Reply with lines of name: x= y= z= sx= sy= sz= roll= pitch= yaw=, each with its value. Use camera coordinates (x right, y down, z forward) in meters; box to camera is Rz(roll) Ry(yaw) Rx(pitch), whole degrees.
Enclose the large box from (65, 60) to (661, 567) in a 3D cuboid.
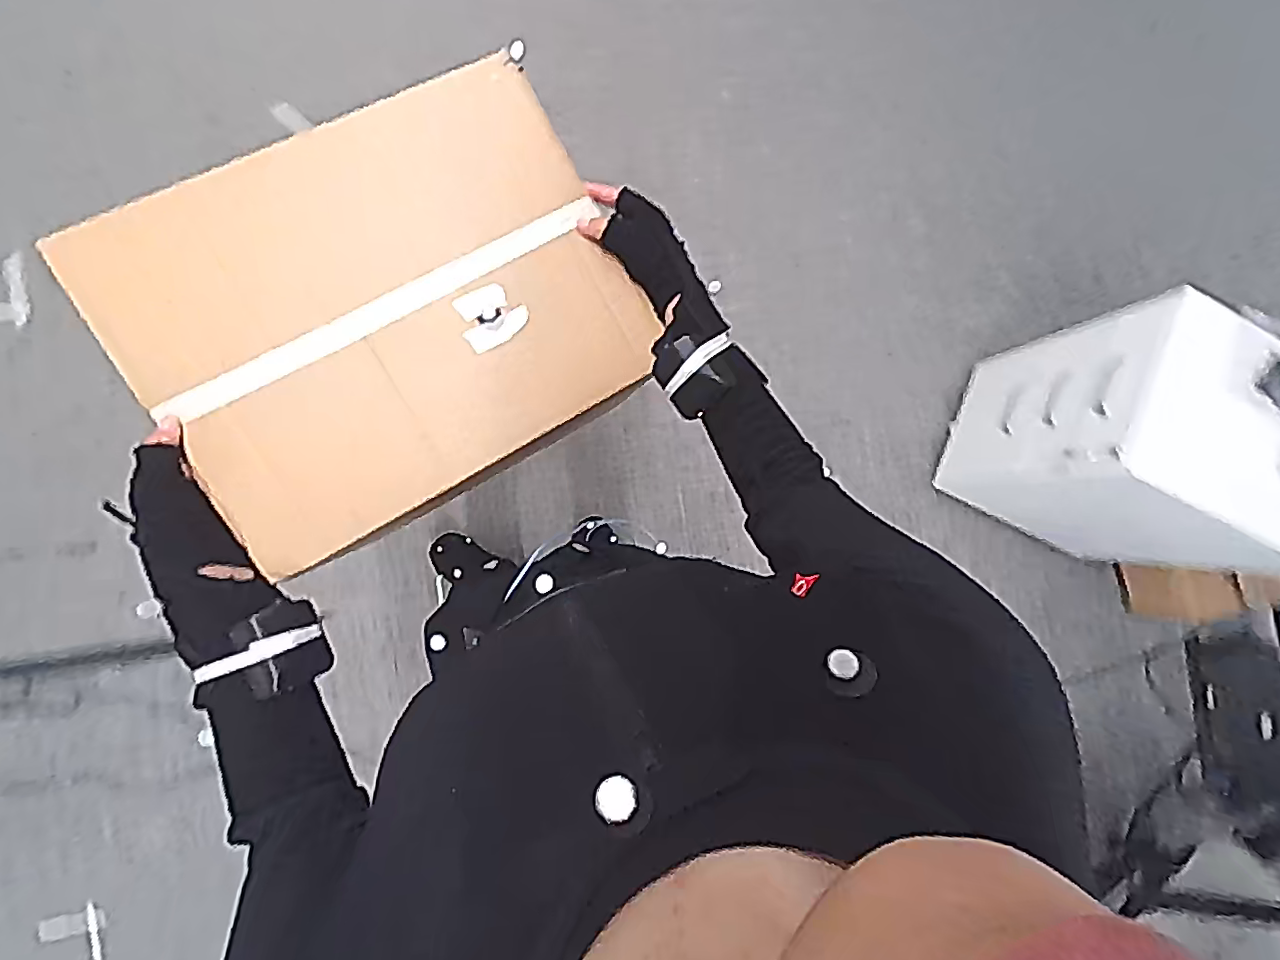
large box: x=-0.250 y=-0.154 z=0.623 sx=0.408 sy=0.320 sz=0.320 roll=-32 pitch=98 yaw=-11
